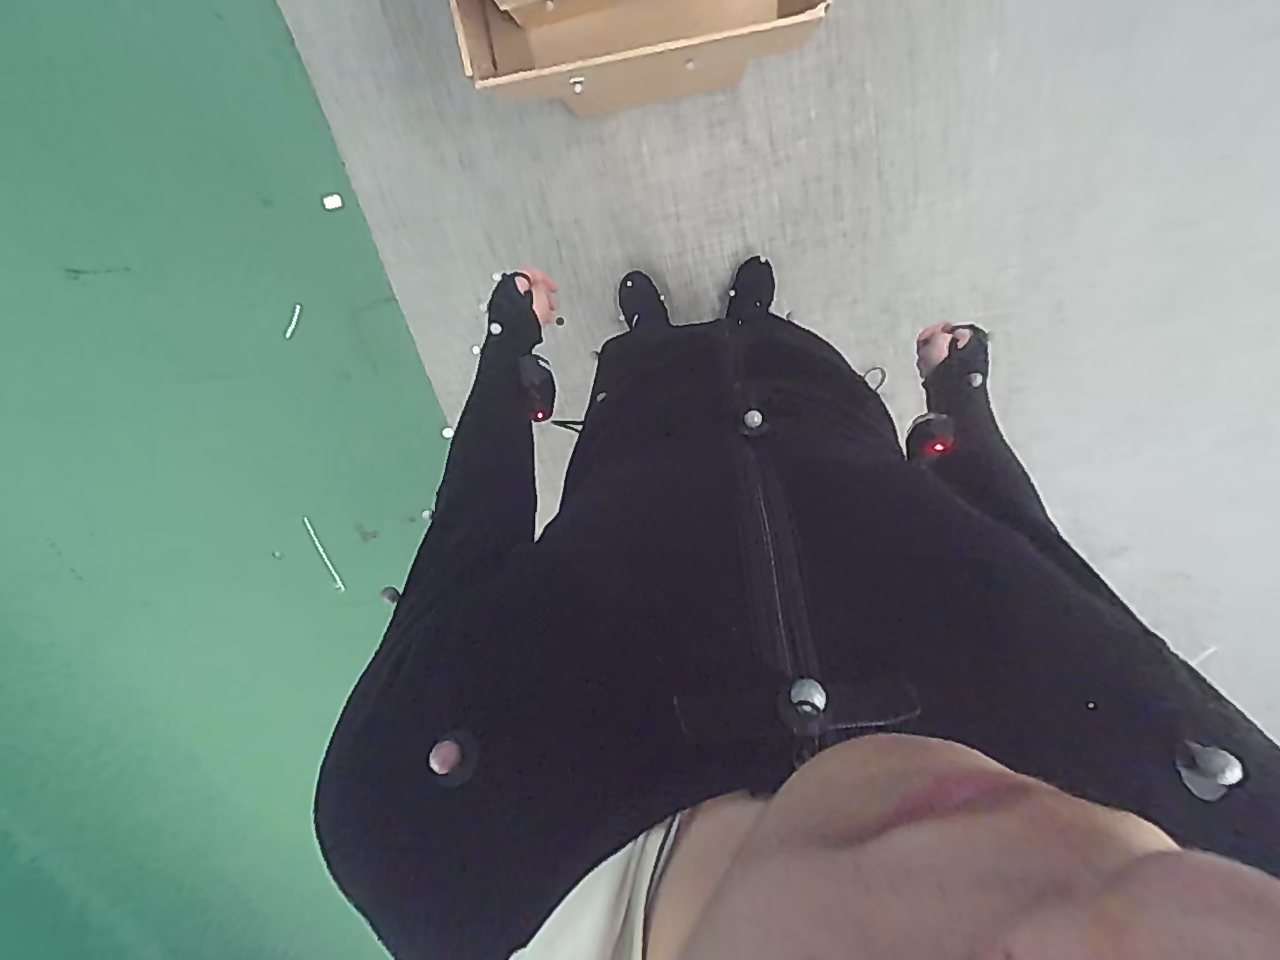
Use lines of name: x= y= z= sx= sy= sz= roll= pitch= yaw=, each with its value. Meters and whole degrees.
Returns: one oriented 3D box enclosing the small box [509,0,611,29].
small box: x=-0.153 y=-0.882 z=0.887 sx=0.179 sy=0.176 sz=0.168 roll=-8 pitch=113 yaw=8
